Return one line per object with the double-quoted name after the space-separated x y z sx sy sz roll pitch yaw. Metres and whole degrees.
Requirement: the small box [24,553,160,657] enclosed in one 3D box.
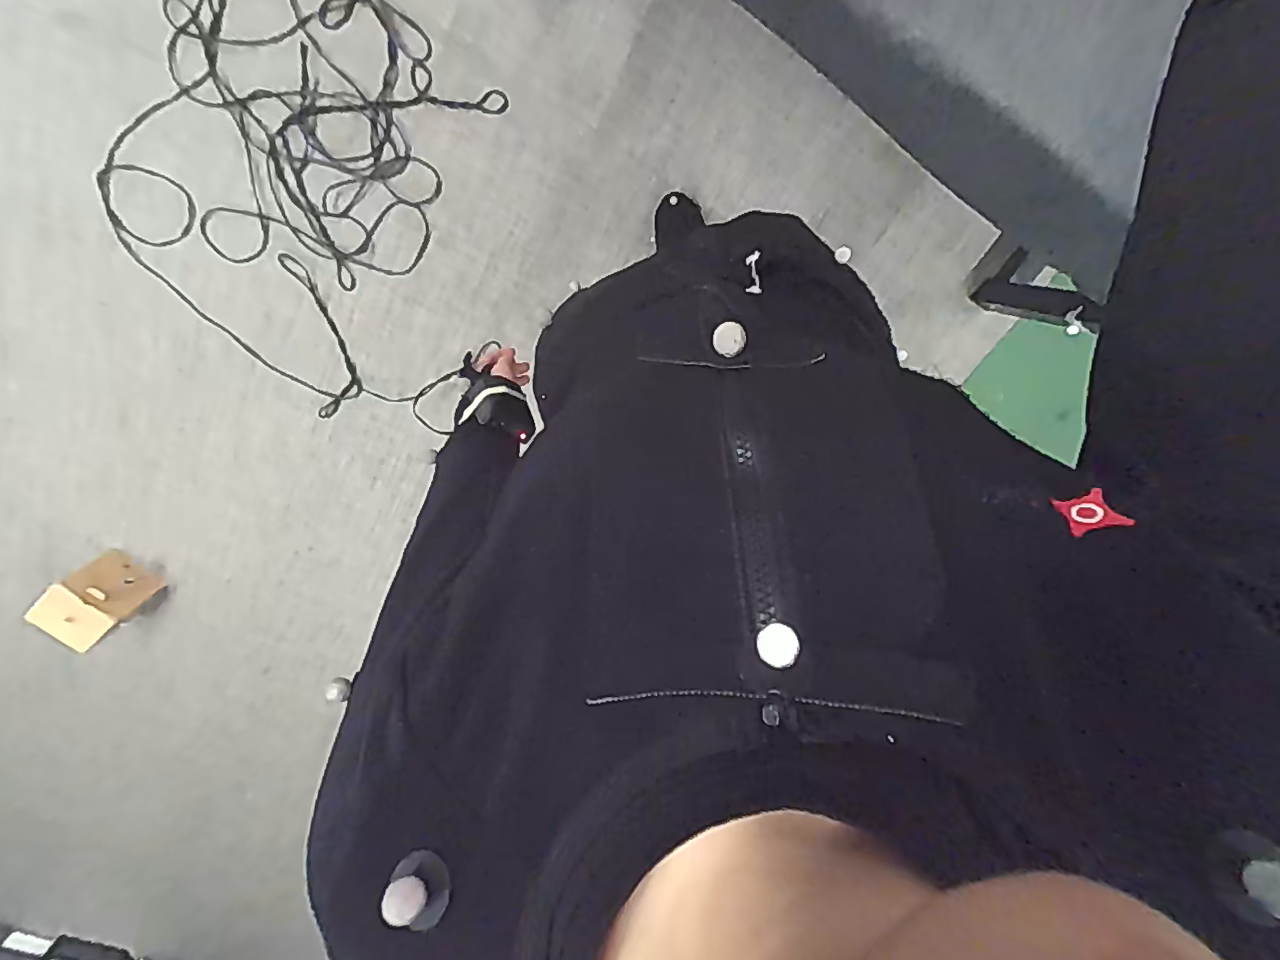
-1.478 0.336 1.472 0.179 0.176 0.168 -37 109 15 "small box"
